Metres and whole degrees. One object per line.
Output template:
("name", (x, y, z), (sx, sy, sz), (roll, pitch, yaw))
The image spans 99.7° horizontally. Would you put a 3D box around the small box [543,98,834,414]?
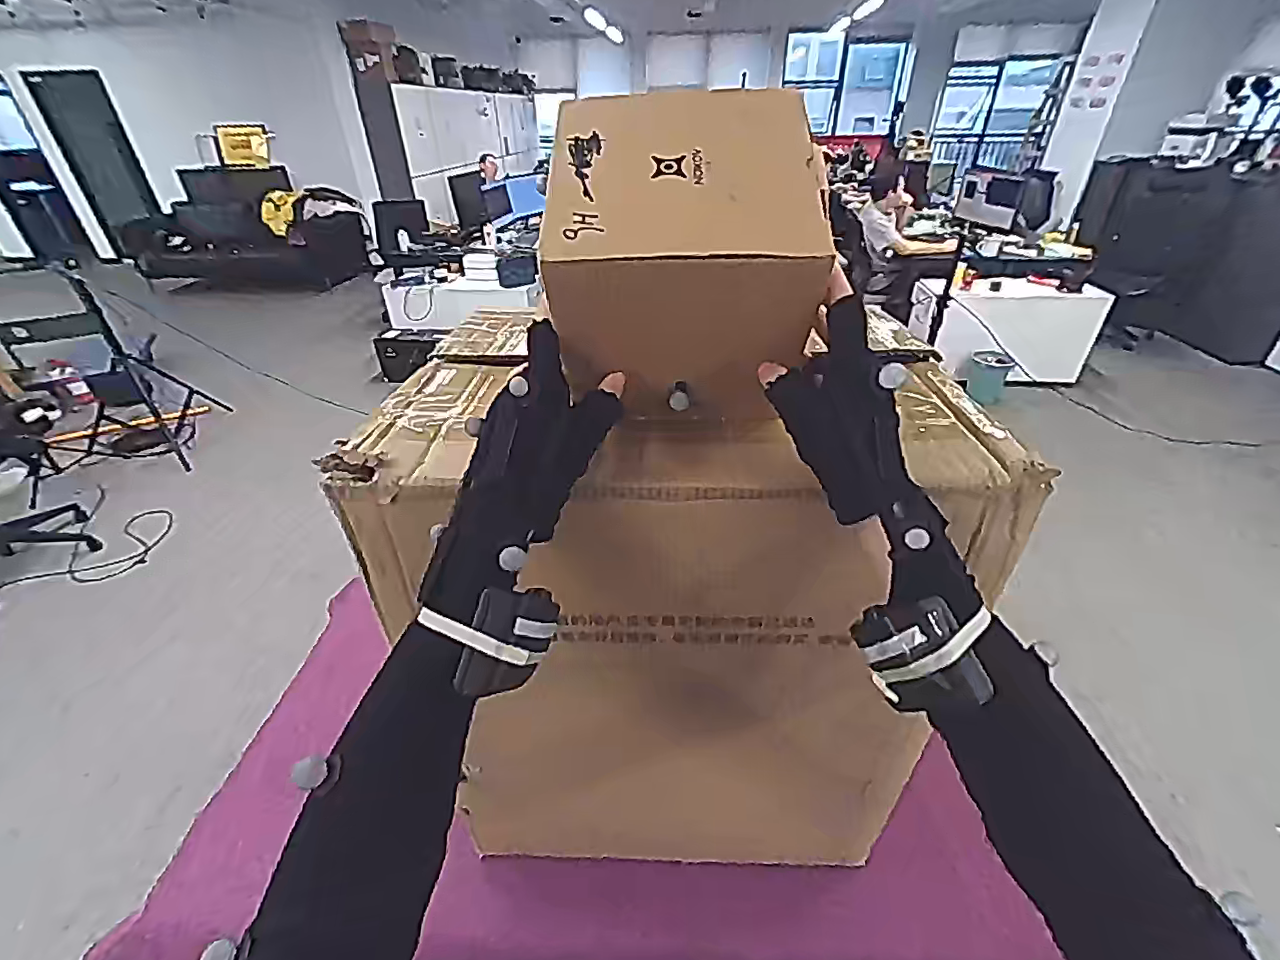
("small box", (0.031, -0.165, 0.427), (0.179, 0.176, 0.168), (0, 61, 2))
